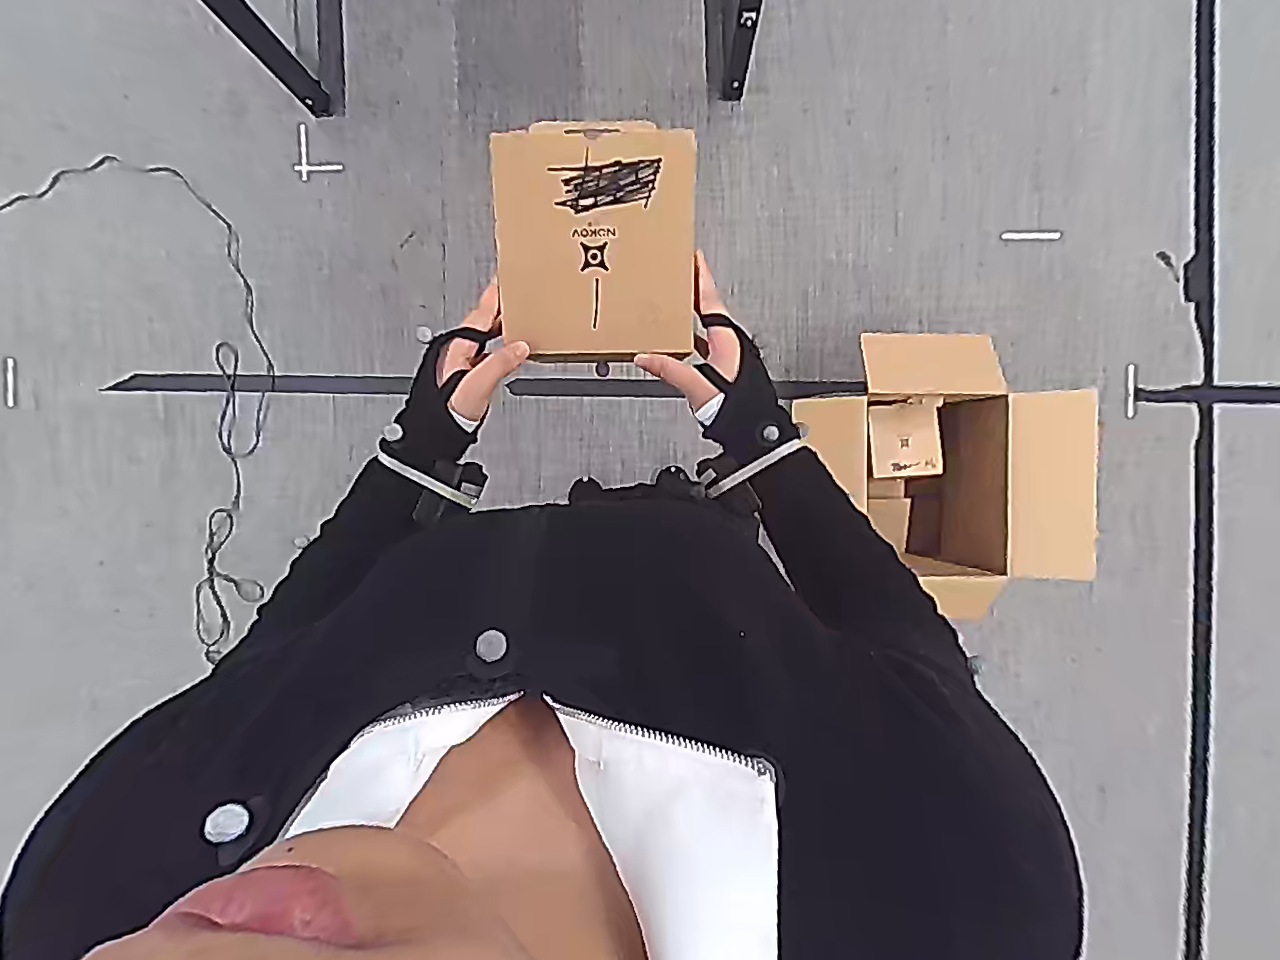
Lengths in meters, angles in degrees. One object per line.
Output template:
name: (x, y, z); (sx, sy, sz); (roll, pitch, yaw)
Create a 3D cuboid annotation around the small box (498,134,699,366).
small box: (-0.035, -0.205, 0.527); (0.168, 0.176, 0.179); (0, 100, 1)
